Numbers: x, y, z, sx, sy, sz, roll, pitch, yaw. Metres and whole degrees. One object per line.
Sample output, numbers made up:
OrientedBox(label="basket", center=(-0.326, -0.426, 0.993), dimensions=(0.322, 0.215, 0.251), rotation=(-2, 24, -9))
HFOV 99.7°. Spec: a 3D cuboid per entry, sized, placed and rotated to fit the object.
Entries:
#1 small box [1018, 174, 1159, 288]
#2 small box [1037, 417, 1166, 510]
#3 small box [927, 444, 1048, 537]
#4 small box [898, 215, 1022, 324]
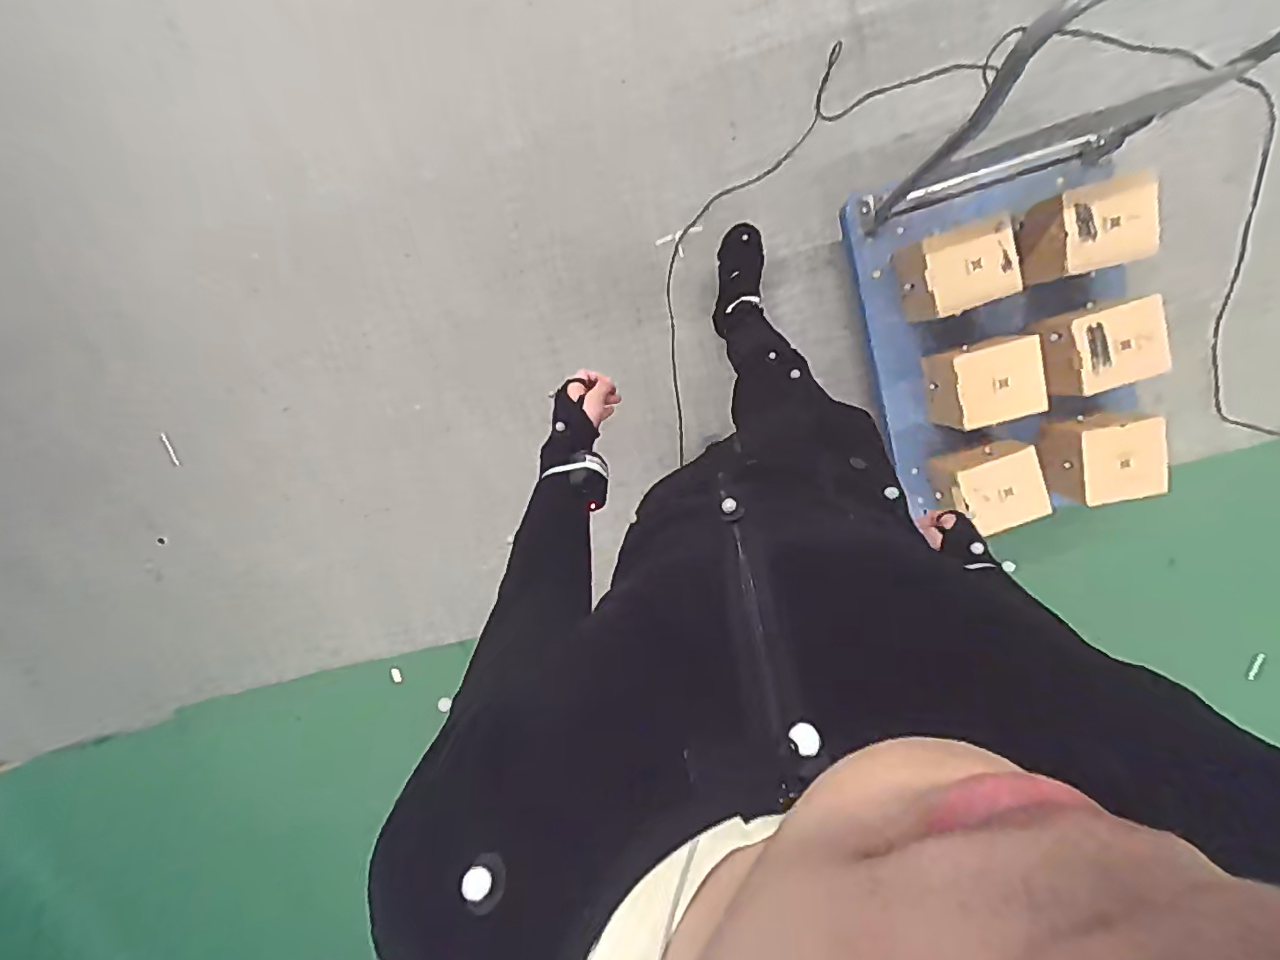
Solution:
OrientedBox(label="small box", center=(0.943, -0.519, 1.155), dimensions=(0.179, 0.176, 0.168), rotation=(-12, 102, 7))
OrientedBox(label="small box", center=(1.060, -0.047, 1.255), dimensions=(0.168, 0.176, 0.179), rotation=(-12, 101, 9))
OrientedBox(label="small box", center=(0.819, 0.018, 1.287), dimensions=(0.179, 0.176, 0.168), rotation=(-14, 99, 9))
OrientedBox(label="small box", center=(0.691, -0.452, 1.193), dimensions=(0.179, 0.176, 0.168), rotation=(-17, 101, 9))
